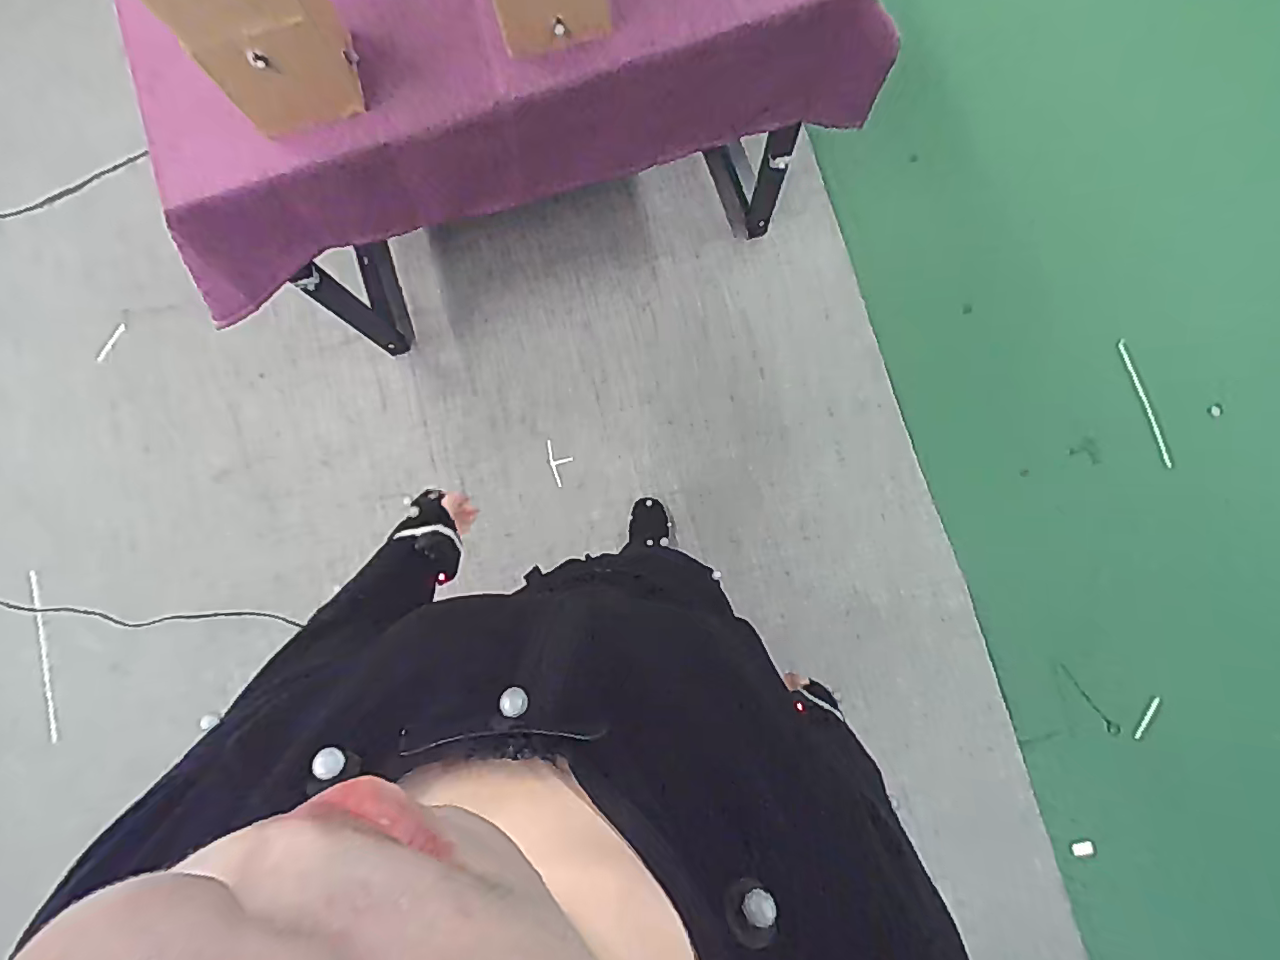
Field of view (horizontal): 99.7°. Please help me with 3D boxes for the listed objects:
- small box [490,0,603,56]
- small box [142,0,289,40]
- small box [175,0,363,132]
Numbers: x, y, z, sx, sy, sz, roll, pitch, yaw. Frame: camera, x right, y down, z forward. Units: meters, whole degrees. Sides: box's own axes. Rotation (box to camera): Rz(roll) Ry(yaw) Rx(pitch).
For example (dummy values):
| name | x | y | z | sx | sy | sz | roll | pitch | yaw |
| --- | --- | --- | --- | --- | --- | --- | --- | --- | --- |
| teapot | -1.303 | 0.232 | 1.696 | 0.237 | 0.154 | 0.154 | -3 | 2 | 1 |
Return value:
| name | x | y | z | sx | sy | sz | roll | pitch | yaw |
| --- | --- | --- | --- | --- | --- | --- | --- | --- | --- |
| small box | -0.158 | -0.803 | 0.823 | 0.179 | 0.176 | 0.168 | -16 | 82 | -1 |
| small box | -0.557 | -0.695 | 0.657 | 0.179 | 0.176 | 0.168 | -16 | 83 | 1 |
| small box | -0.557 | -0.670 | 0.818 | 0.179 | 0.176 | 0.168 | -15 | 83 | -1 |
